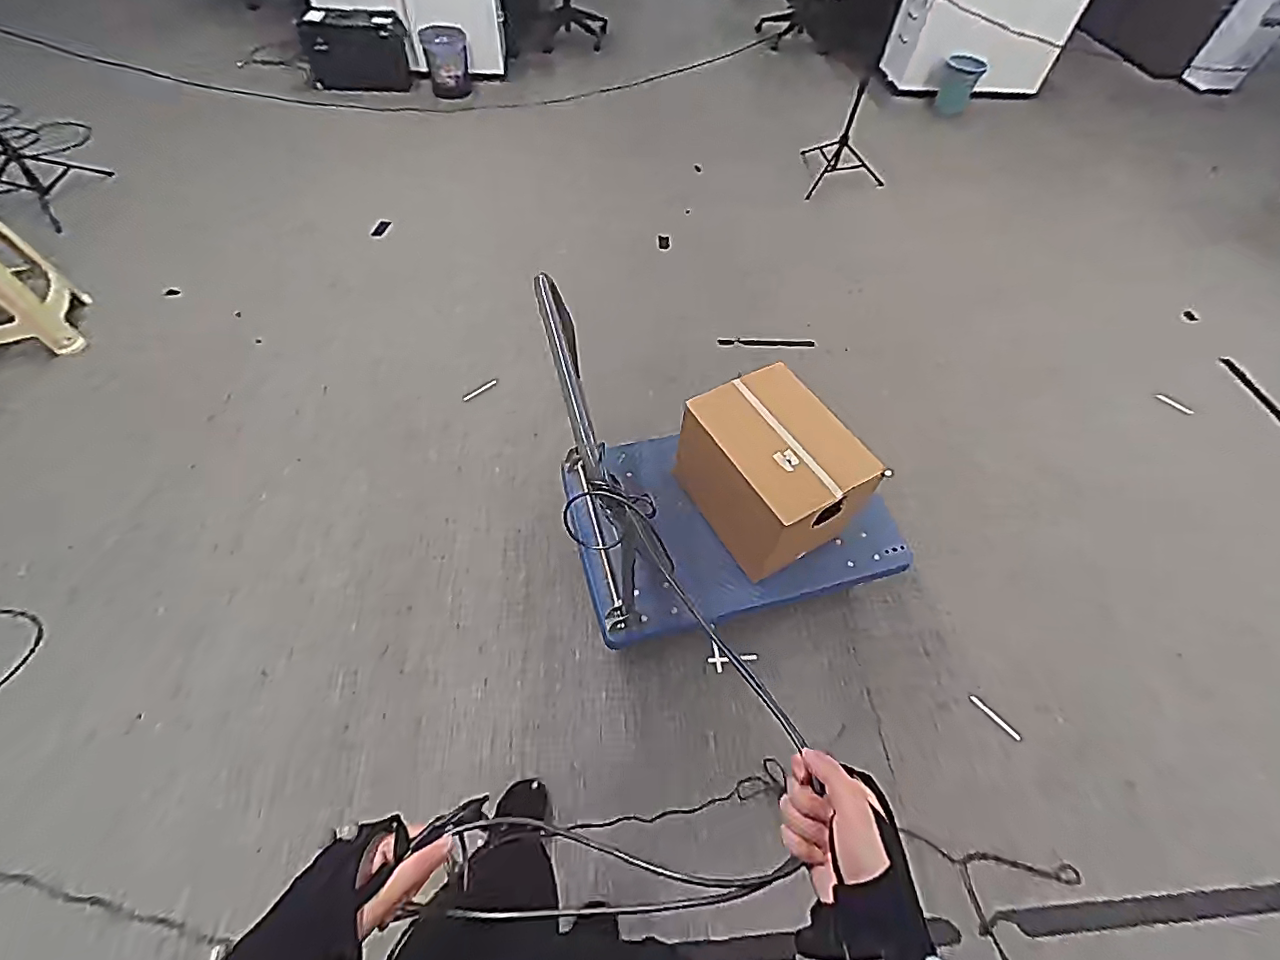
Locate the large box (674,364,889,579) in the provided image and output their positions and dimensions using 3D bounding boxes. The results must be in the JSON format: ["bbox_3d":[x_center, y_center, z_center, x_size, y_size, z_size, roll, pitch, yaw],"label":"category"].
[{"bbox_3d":[0.335,-0.023,1.408,0.320,0.320,0.408,-25,63,-18],"label":"large box"}]
